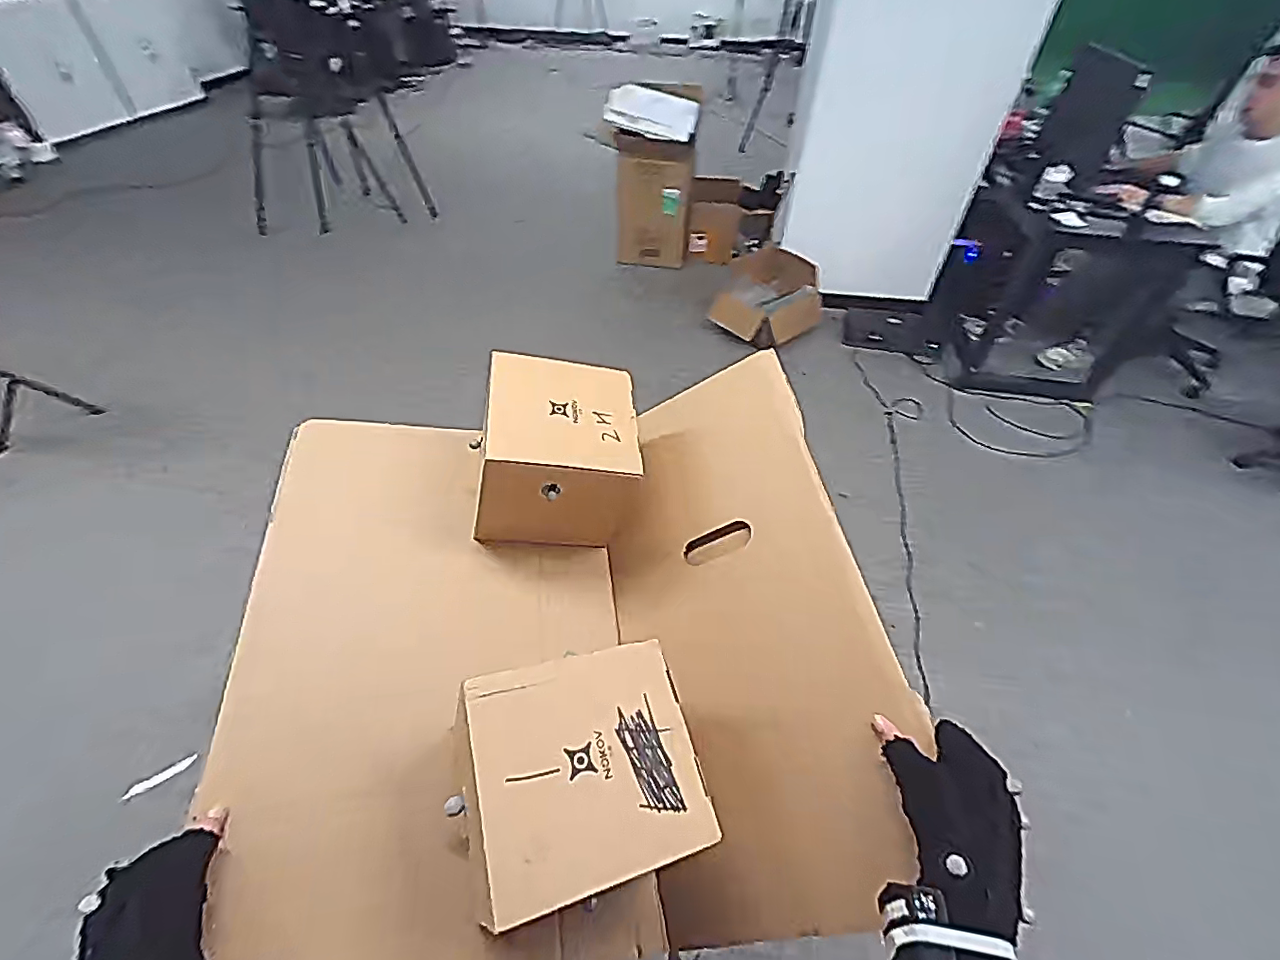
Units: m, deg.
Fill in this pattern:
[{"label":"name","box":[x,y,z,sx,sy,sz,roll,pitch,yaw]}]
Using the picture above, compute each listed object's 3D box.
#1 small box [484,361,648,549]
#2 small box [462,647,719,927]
[{"label":"small box","box":[-0.101,-0.024,0.697,0.179,0.176,0.168,7,53,-17]},{"label":"small box","box":[-0.060,0.270,0.493,0.179,0.176,0.168,-4,57,-23]}]
